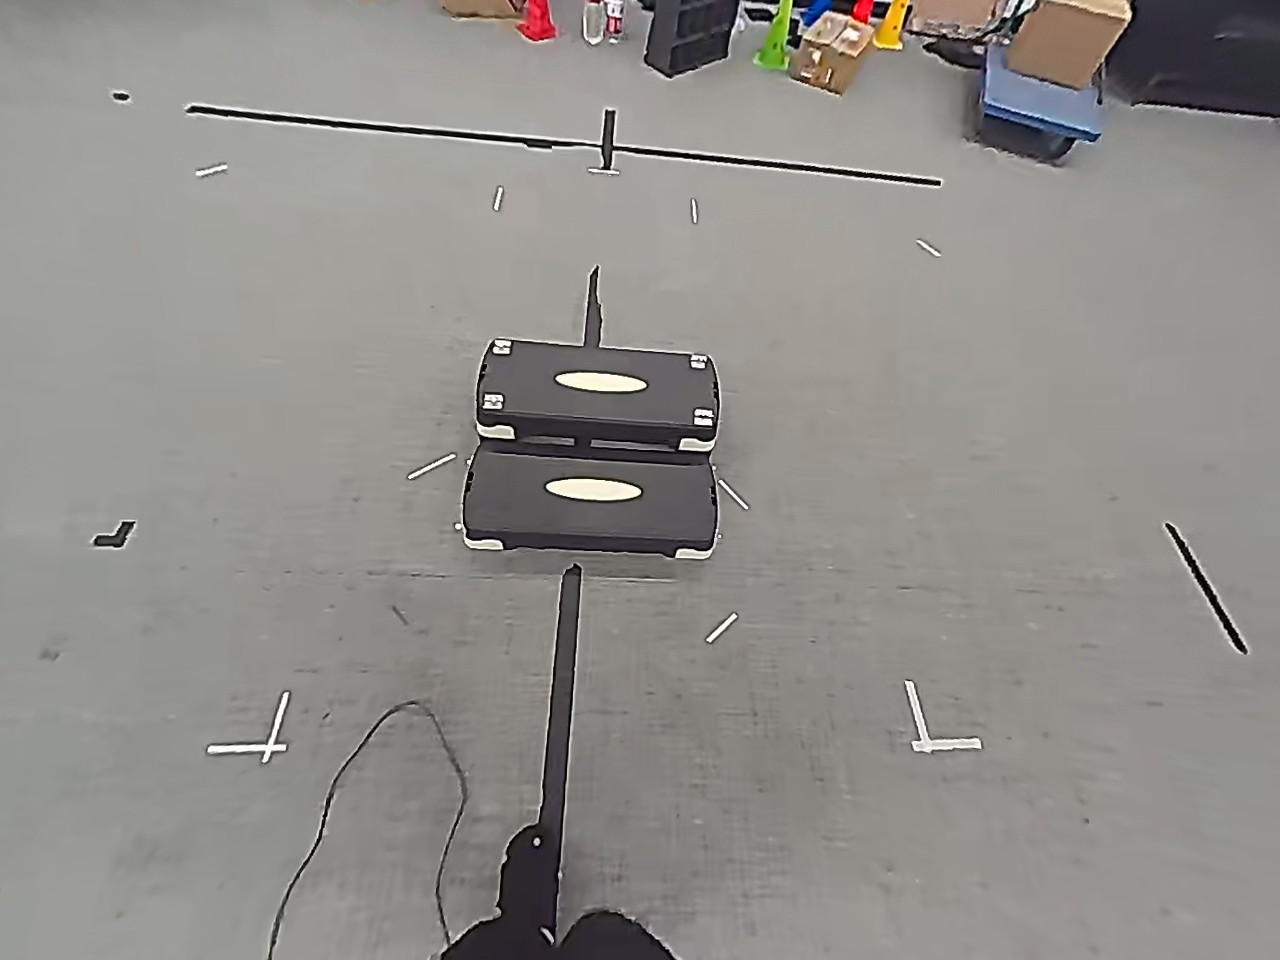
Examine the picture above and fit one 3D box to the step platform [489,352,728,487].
[{"bbox_3d":[-0.087,-0.178,1.584,0.684,0.204,0.286,7,57,-3],"label":"step platform"}]
